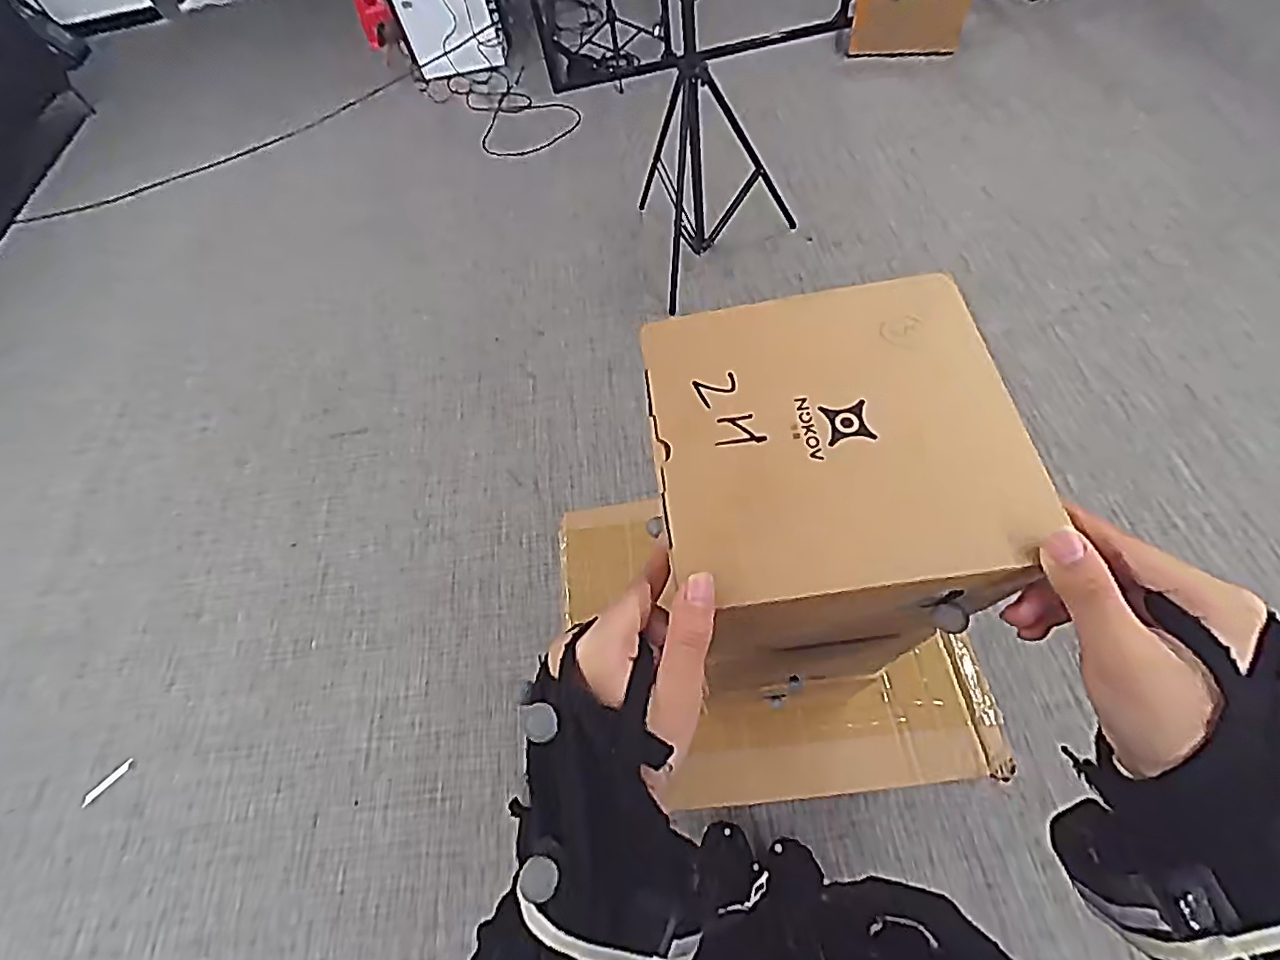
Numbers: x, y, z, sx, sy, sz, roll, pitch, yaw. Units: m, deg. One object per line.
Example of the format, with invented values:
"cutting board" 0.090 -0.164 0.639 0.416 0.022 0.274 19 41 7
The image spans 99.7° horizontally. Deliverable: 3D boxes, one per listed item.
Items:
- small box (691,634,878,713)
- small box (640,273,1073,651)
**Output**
"small box" 0.148 0.167 0.628 0.179 0.176 0.168 -8 60 4
"small box" 0.102 0.005 0.340 0.179 0.176 0.168 -9 63 5
